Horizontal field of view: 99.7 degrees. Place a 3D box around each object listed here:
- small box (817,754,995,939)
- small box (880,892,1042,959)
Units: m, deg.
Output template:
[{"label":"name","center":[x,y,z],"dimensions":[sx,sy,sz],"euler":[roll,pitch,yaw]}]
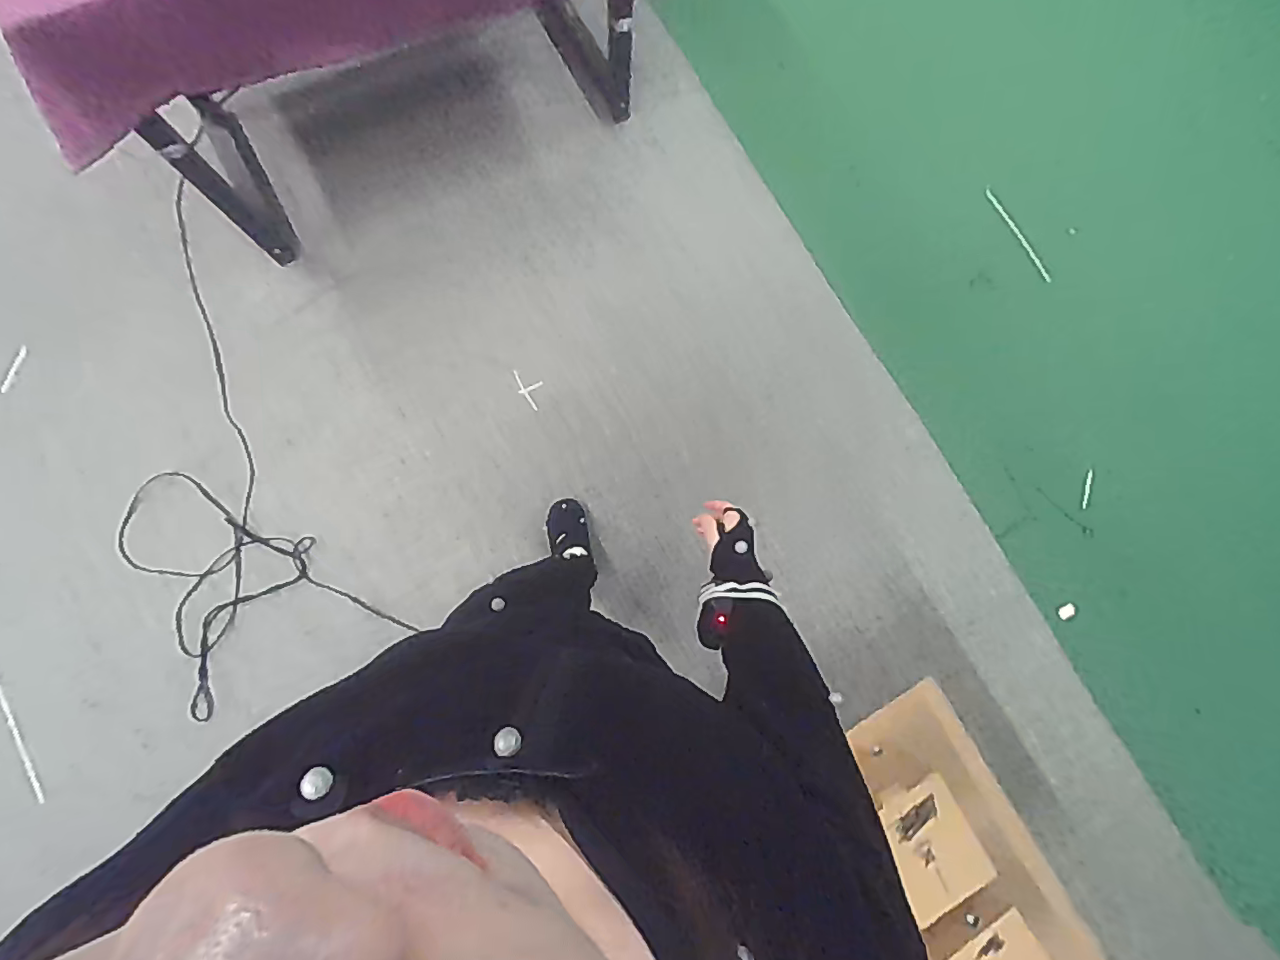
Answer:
[{"label":"small box","center":[0.430,0.591,0.907],"dimensions":[0.168,0.176,0.179],"euler":[-27,83,-8]},{"label":"small box","center":[0.535,0.785,0.879],"dimensions":[0.168,0.176,0.179],"euler":[-30,84,-9]}]
